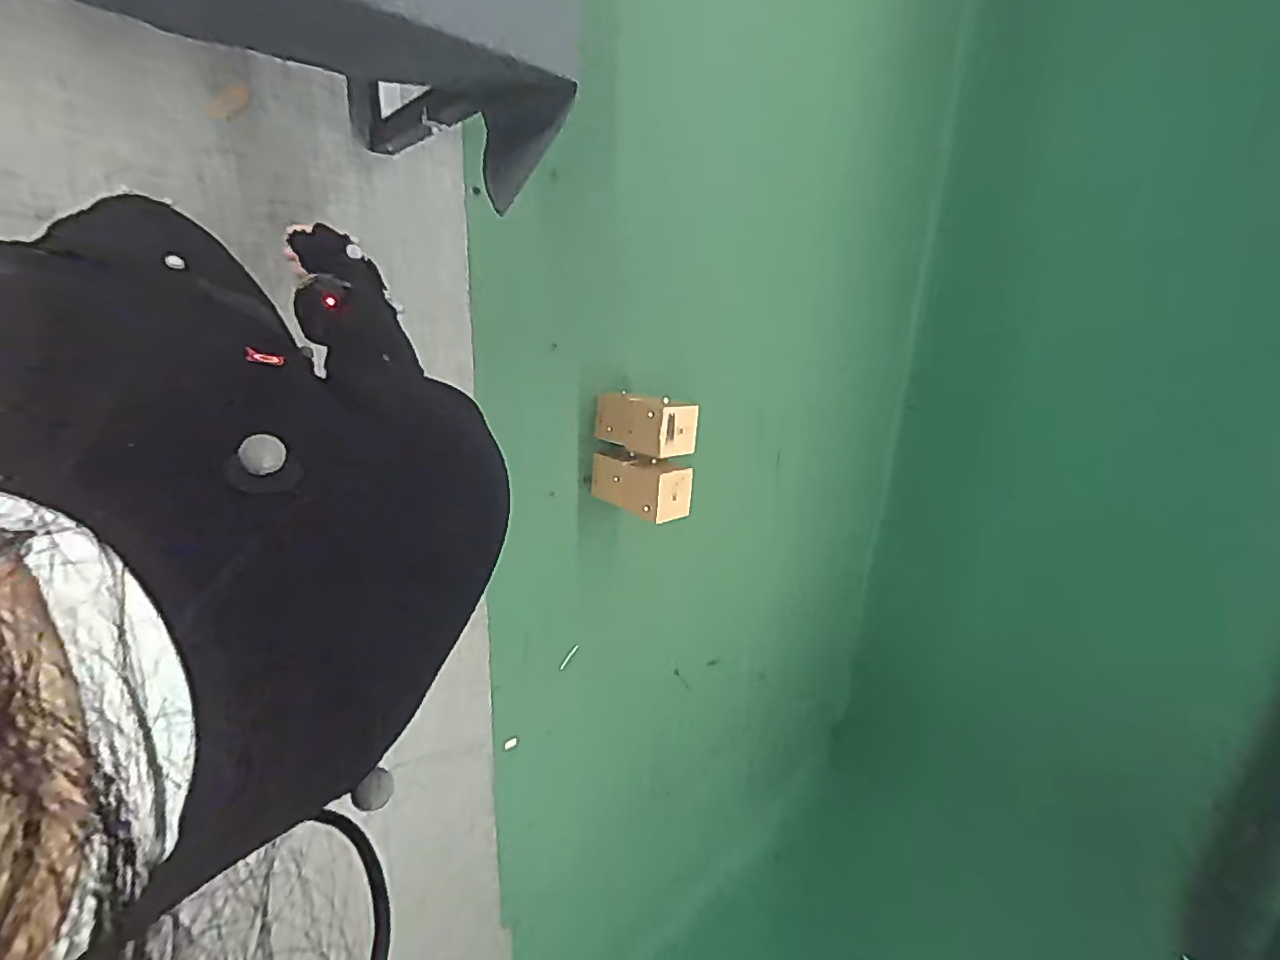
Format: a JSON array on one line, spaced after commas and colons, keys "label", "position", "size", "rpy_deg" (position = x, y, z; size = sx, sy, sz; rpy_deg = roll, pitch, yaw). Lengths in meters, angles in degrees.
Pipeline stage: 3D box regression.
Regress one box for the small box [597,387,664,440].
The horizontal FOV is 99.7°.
[{"label": "small box", "position": [-0.038, -0.241, 1.939], "size": [0.179, 0.176, 0.168], "rpy_deg": [-8, 109, -43]}]
